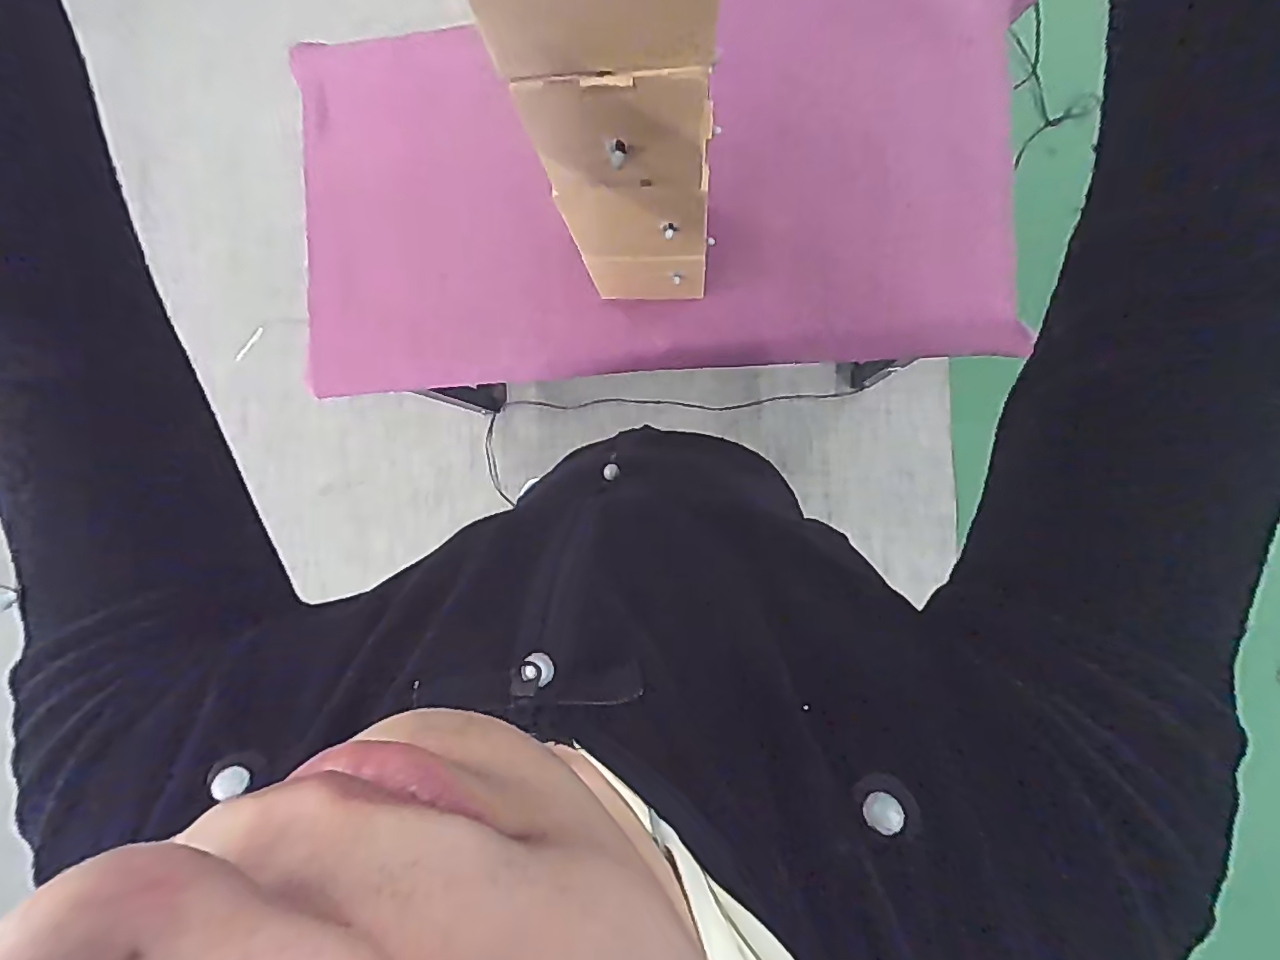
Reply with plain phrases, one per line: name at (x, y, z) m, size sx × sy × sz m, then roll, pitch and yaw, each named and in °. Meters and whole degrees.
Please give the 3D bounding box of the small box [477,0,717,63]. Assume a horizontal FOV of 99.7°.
small box at (-0.034, -0.413, 0.351) m, size 0.179 × 0.176 × 0.168 m, roll 0°, pitch 89°, yaw 5°

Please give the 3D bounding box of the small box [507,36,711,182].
small box at (-0.017, -0.409, 0.514) m, size 0.168 × 0.176 × 0.179 m, roll 2°, pitch 90°, yaw 6°

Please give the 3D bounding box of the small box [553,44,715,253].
small box at (0.000, -0.400, 0.676) m, size 0.179 × 0.176 × 0.168 m, roll 2°, pitch 89°, yaw 7°
